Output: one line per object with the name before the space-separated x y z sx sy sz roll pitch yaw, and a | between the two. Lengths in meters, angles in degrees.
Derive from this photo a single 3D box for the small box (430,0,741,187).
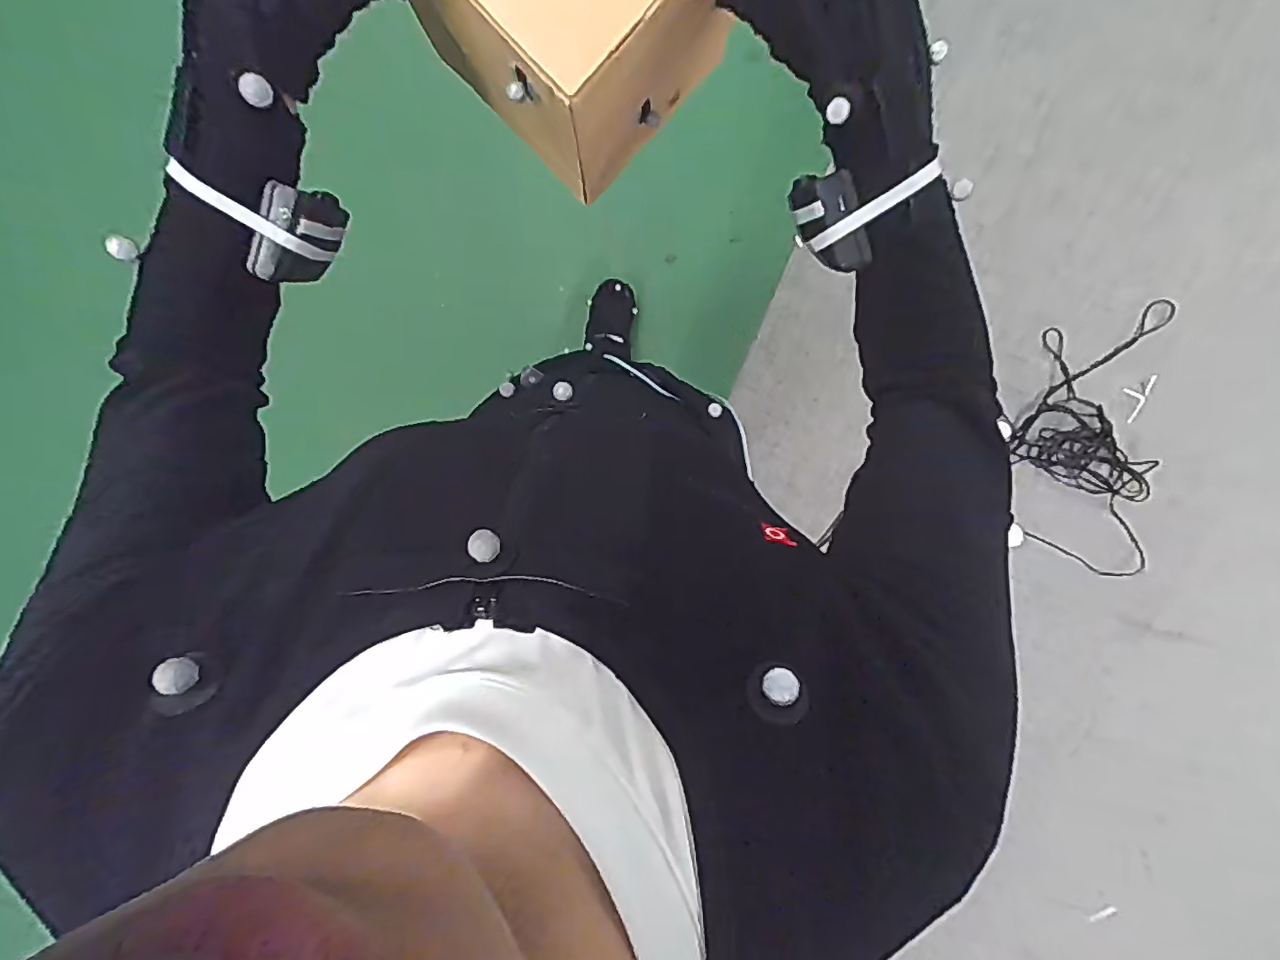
small box | -0.042 -0.348 0.374 0.179 0.176 0.168 43 95 -7
